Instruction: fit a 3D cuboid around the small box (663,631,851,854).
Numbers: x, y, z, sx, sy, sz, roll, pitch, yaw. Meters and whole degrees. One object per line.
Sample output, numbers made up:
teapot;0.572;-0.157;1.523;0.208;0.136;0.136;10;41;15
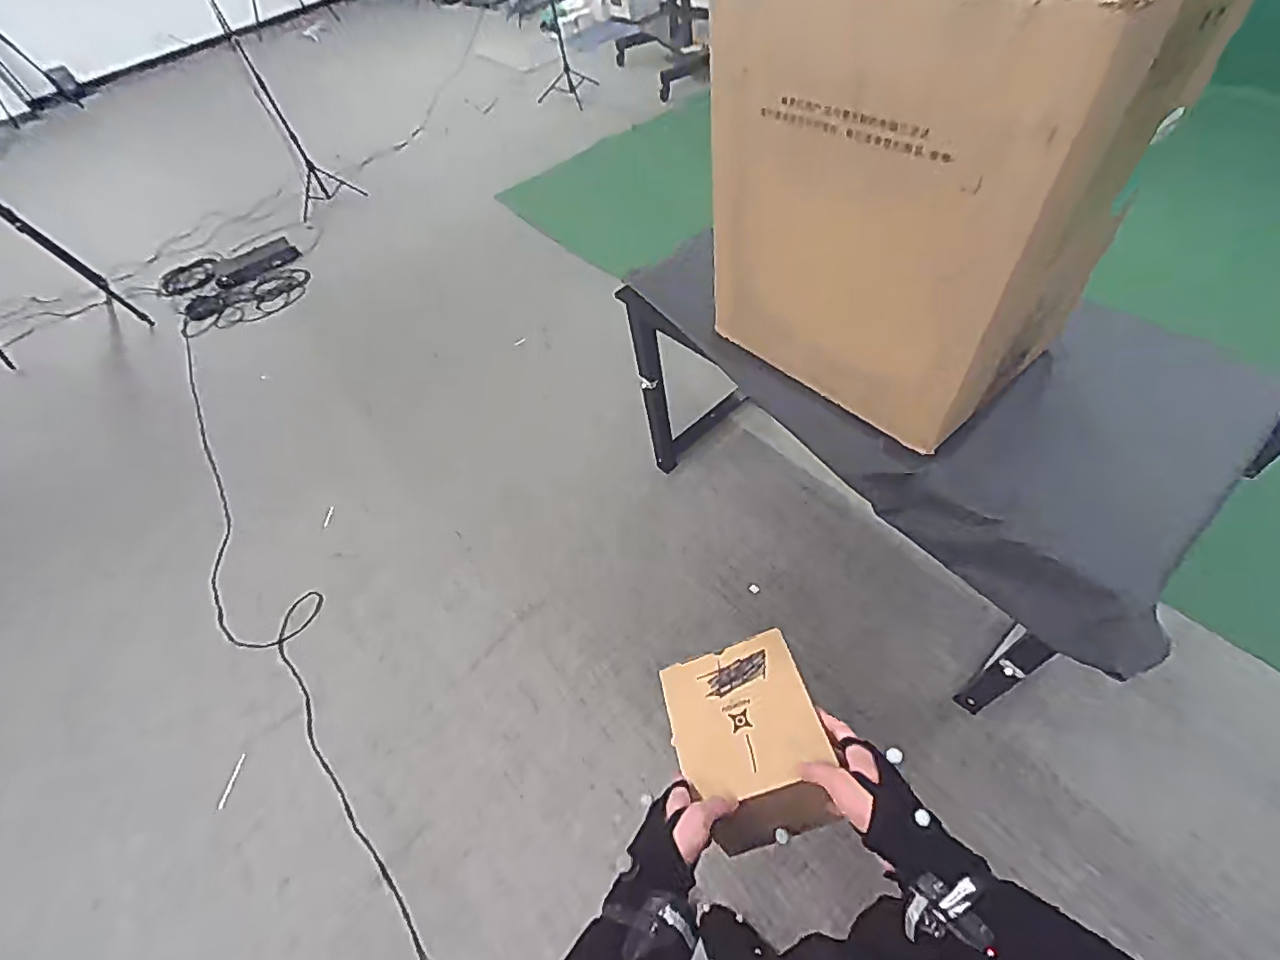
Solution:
small box;0.144;0.327;0.675;0.168;0.176;0.179;-22;39;5
